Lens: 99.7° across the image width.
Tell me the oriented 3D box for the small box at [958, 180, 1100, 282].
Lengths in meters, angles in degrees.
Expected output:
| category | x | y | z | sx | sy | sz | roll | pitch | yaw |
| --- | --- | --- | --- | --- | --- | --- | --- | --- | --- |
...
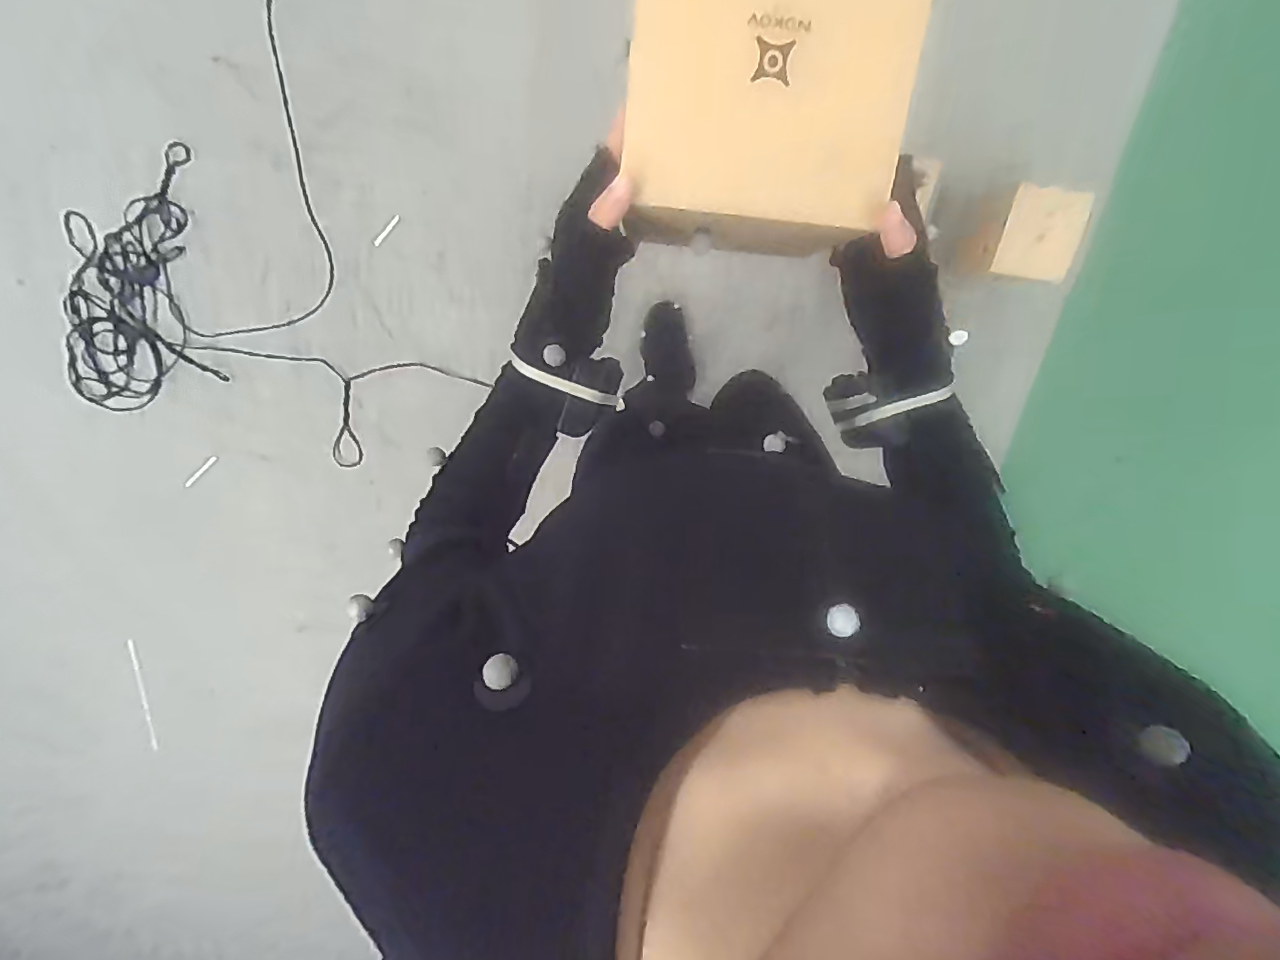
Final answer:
| category | x | y | z | sx | sy | sz | roll | pitch | yaw |
| --- | --- | --- | --- | --- | --- | --- | --- | --- | --- |
| small box | 0.842 | -0.542 | 1.196 | 0.168 | 0.176 | 0.179 | 8 | 110 | -2 |
